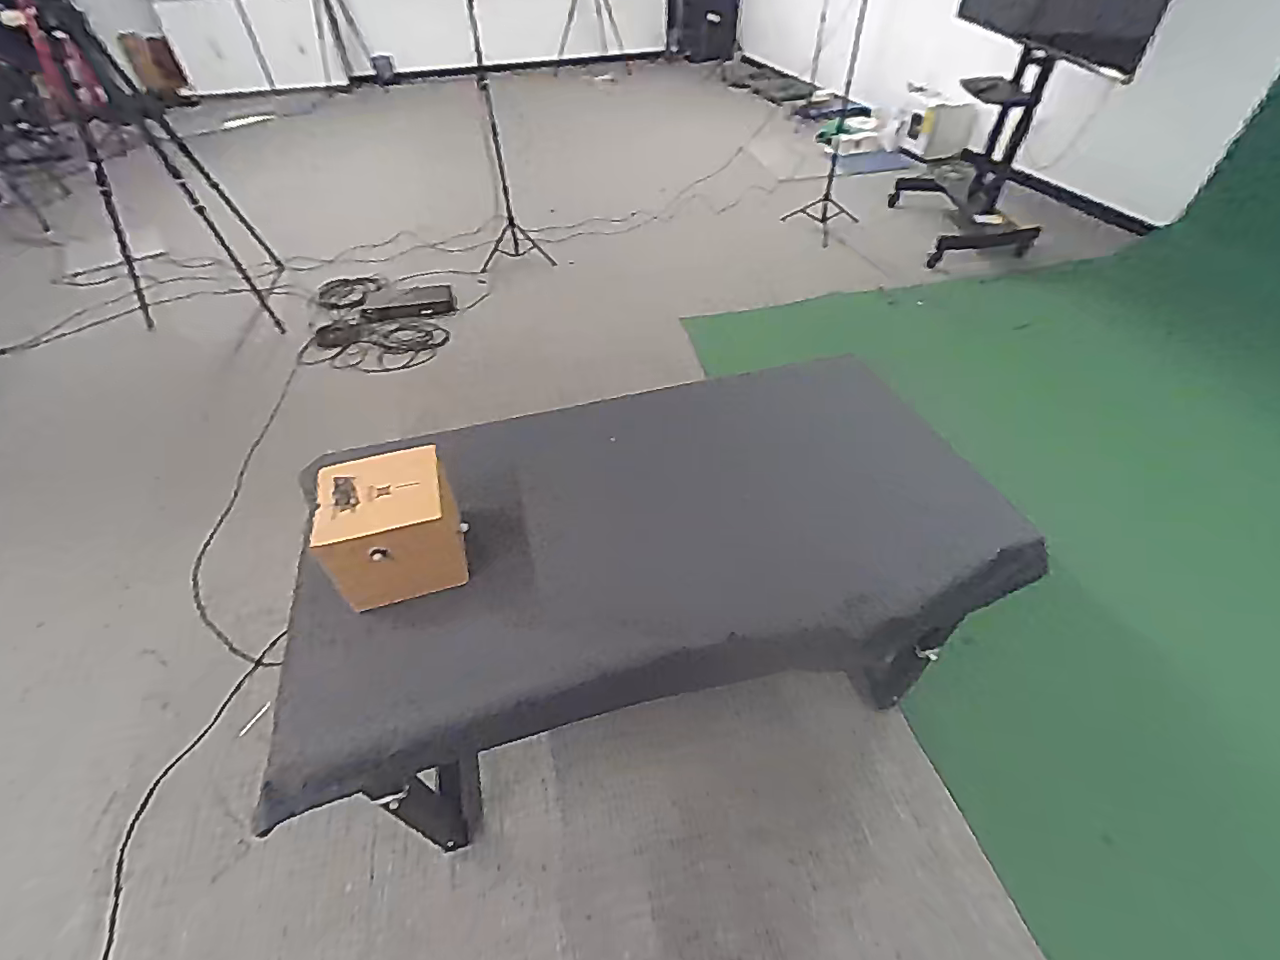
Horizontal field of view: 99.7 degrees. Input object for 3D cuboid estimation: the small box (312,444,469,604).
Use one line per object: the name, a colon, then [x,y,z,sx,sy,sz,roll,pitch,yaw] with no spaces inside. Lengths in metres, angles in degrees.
small box: [-0.386,0.072,0.859,0.179,0.176,0.168,-13,47,-12]
